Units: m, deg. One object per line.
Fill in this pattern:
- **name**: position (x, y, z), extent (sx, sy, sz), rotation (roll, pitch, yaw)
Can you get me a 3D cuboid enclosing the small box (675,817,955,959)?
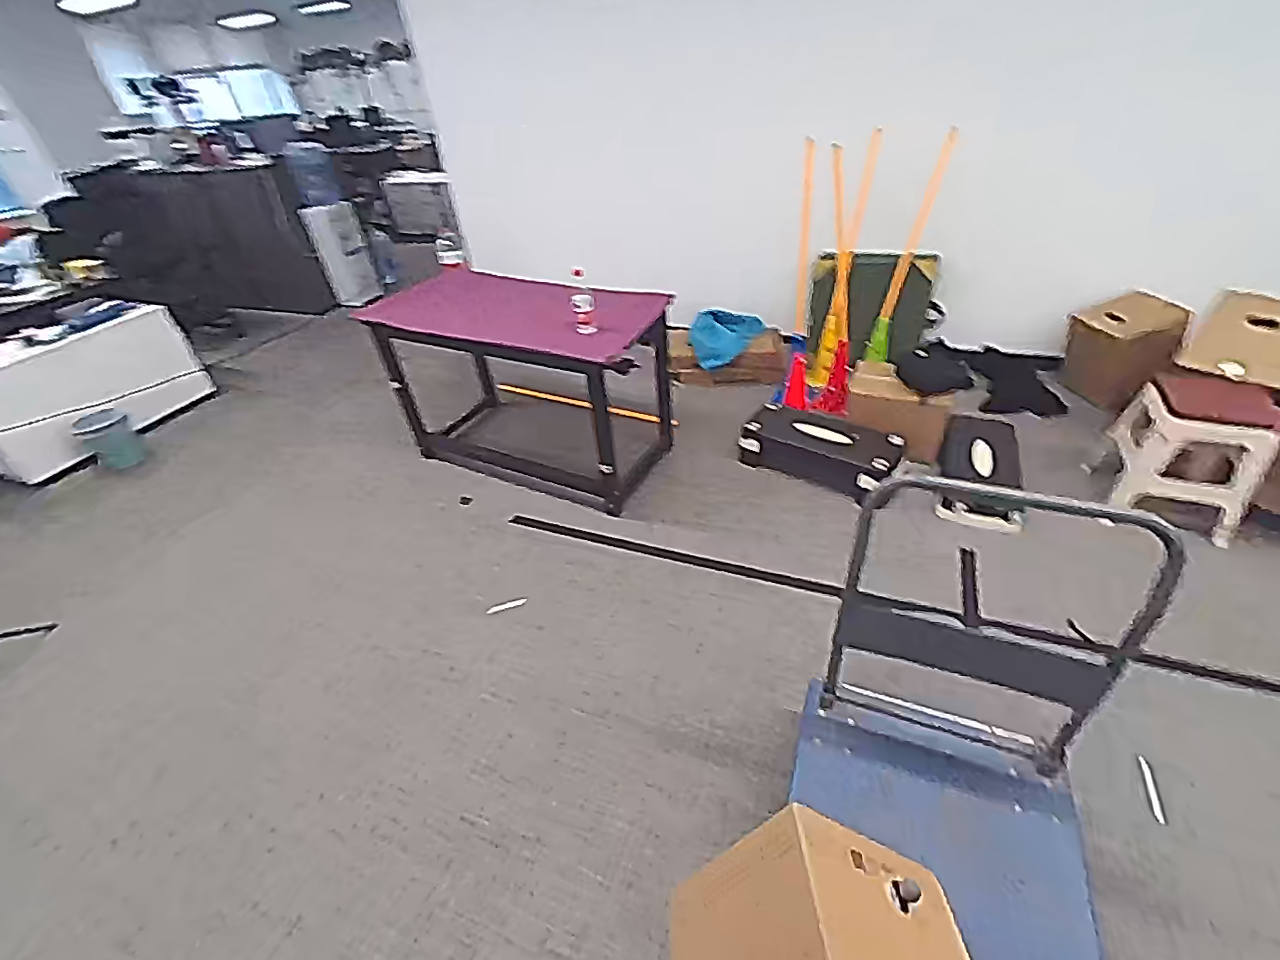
- **small box**: position (0.138, 0.406, 0.417), extent (0.168, 0.179, 0.176), rotation (31, 24, -14)
